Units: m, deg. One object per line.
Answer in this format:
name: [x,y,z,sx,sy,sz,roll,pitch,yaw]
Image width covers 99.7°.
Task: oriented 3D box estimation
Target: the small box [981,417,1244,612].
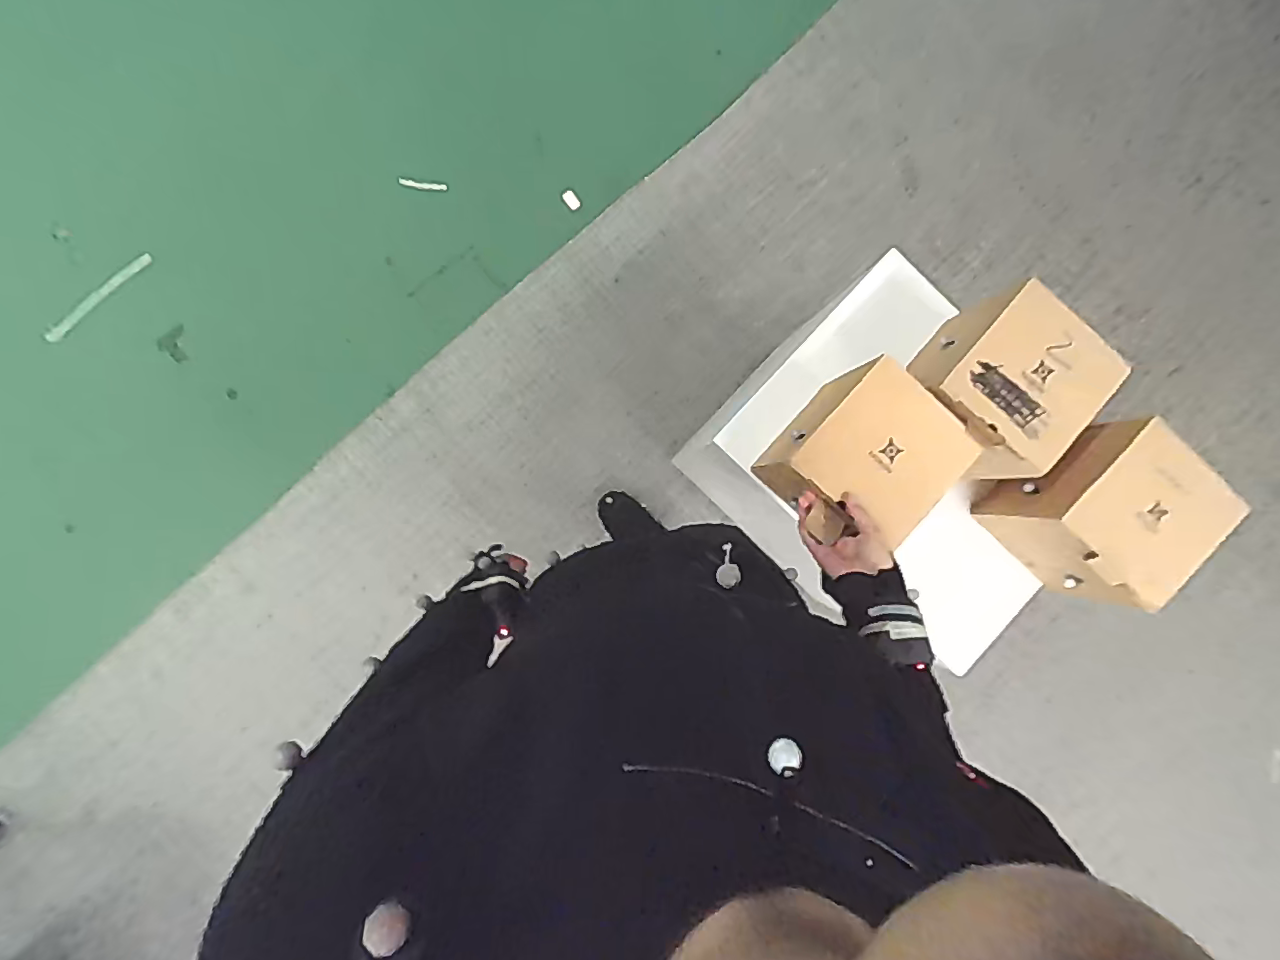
small box: [0.602,0.042,0.720,0.168,0.176,0.179,43,87,-2]
